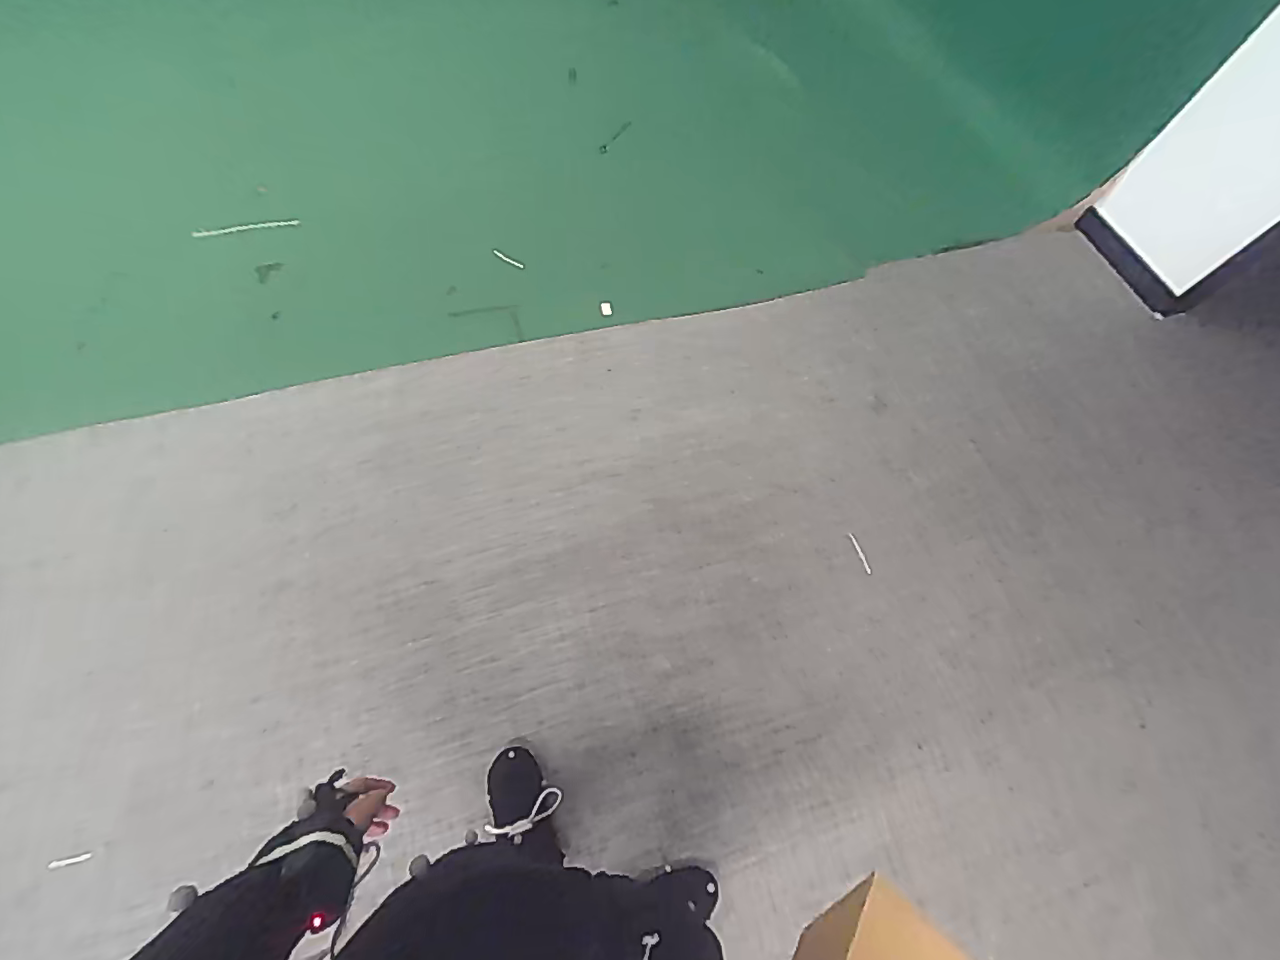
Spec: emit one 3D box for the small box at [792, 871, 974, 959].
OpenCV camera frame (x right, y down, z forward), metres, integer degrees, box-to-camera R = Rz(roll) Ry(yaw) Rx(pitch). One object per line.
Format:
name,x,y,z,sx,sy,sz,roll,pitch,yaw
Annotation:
small box,0.252,0.574,0.562,0.168,0.176,0.179,38,33,24
